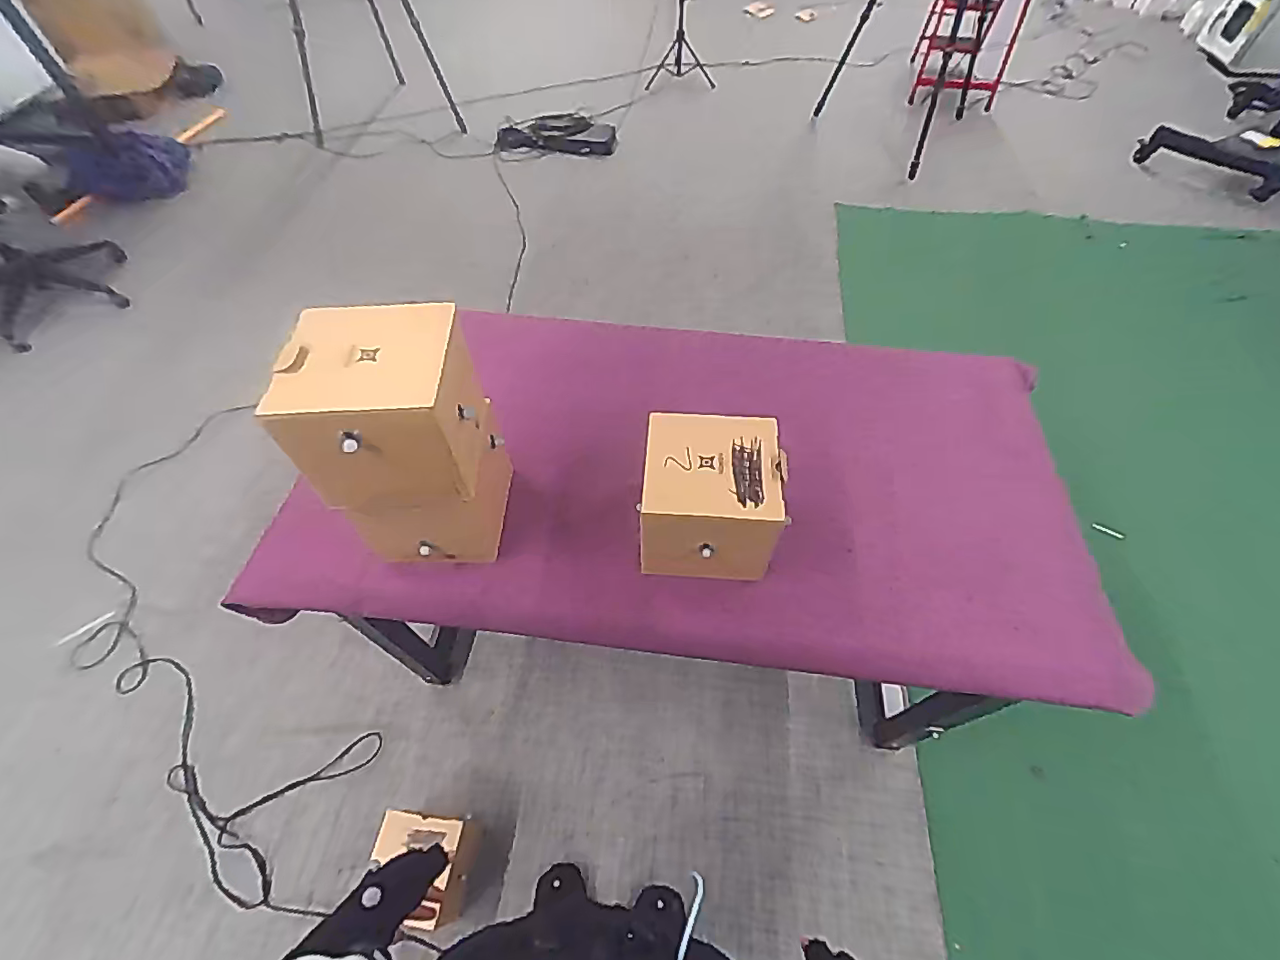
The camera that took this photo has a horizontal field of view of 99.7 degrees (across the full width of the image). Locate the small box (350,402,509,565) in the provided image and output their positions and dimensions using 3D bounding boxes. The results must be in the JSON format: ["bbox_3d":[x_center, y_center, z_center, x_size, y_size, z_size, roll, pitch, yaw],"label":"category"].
[{"bbox_3d":[-0.294,0.004,0.778,0.168,0.176,0.179,2,54,1],"label":"small box"}]

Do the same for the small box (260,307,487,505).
[{"bbox_3d":[-0.289,-0.082,0.639,0.179,0.176,0.168,-2,55,-2],"label":"small box"}]
